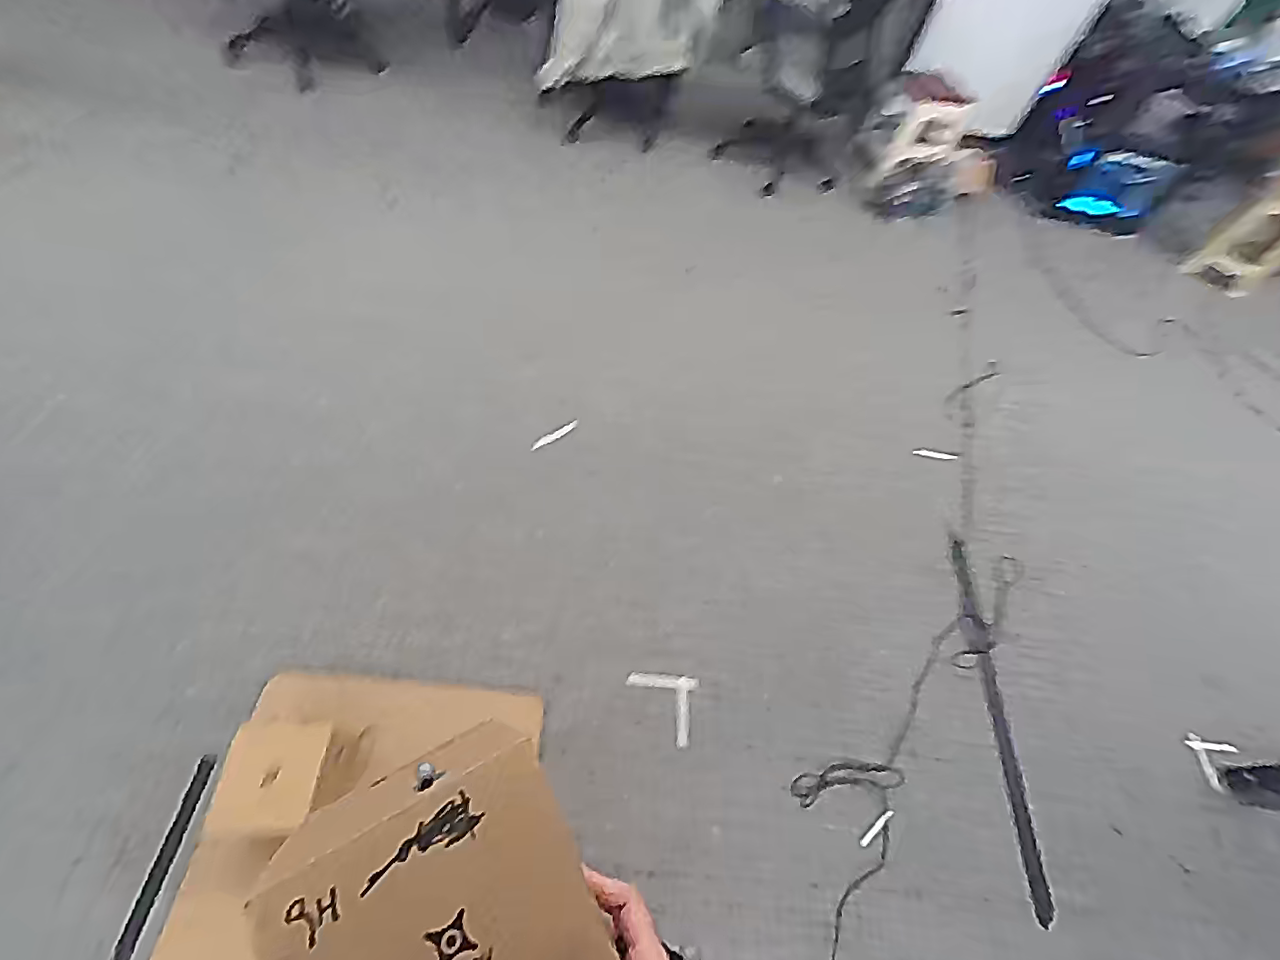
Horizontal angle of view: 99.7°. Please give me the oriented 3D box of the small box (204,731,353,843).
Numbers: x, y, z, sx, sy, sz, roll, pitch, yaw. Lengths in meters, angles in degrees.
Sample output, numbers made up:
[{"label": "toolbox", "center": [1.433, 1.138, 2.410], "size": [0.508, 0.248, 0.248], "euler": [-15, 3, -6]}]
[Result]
[{"label": "small box", "center": [-0.671, 0.587, 1.034], "size": [0.168, 0.176, 0.179], "euler": [3, 58, -8]}]
